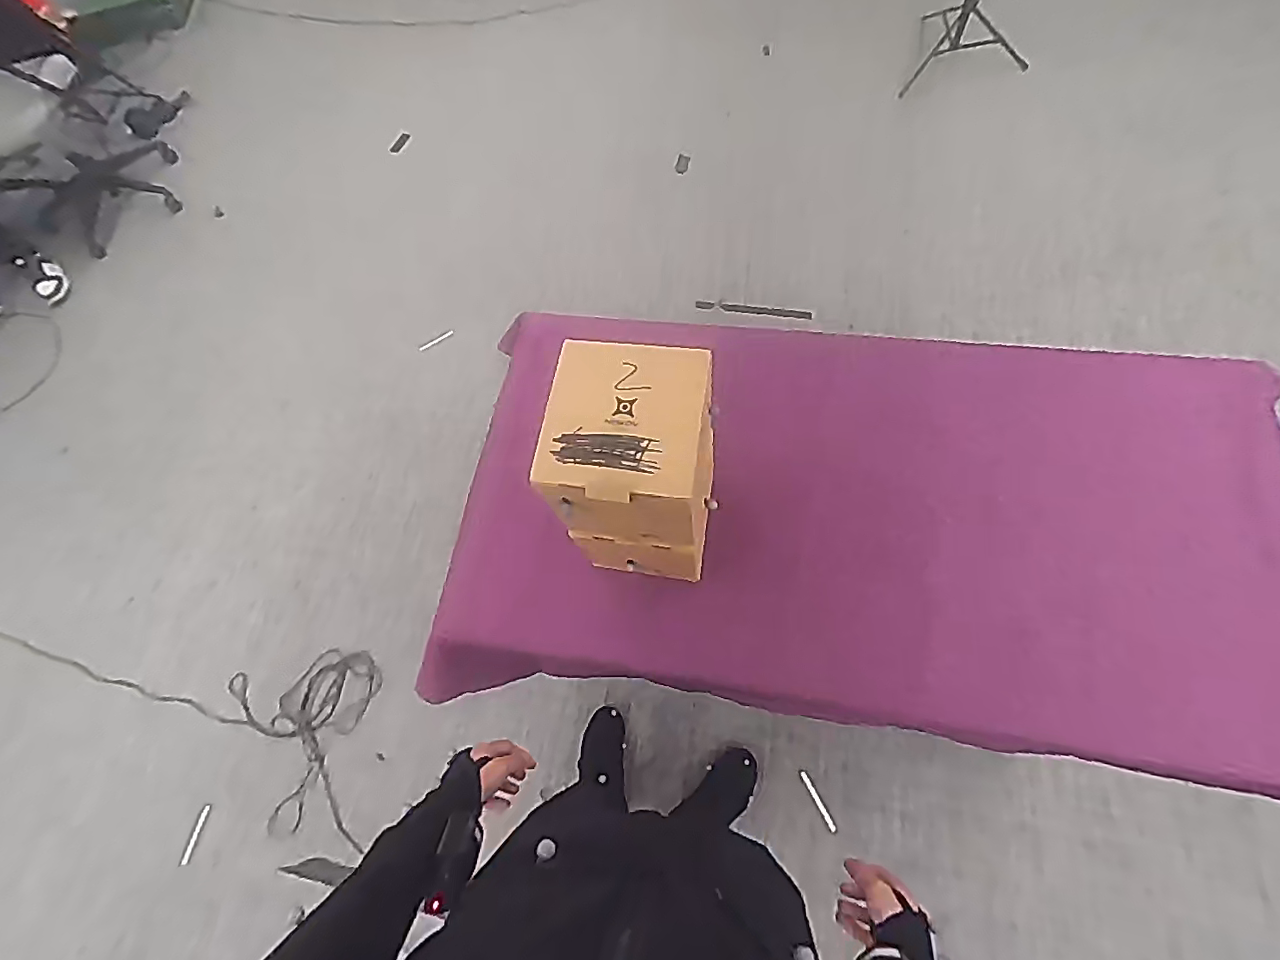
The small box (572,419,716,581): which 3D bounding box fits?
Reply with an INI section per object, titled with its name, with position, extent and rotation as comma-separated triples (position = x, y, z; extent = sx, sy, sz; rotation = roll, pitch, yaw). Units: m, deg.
[small box]
position = 0.014, 0.035, 0.781
extent = 0.168, 0.176, 0.179
rotation = 7, 70, 10
